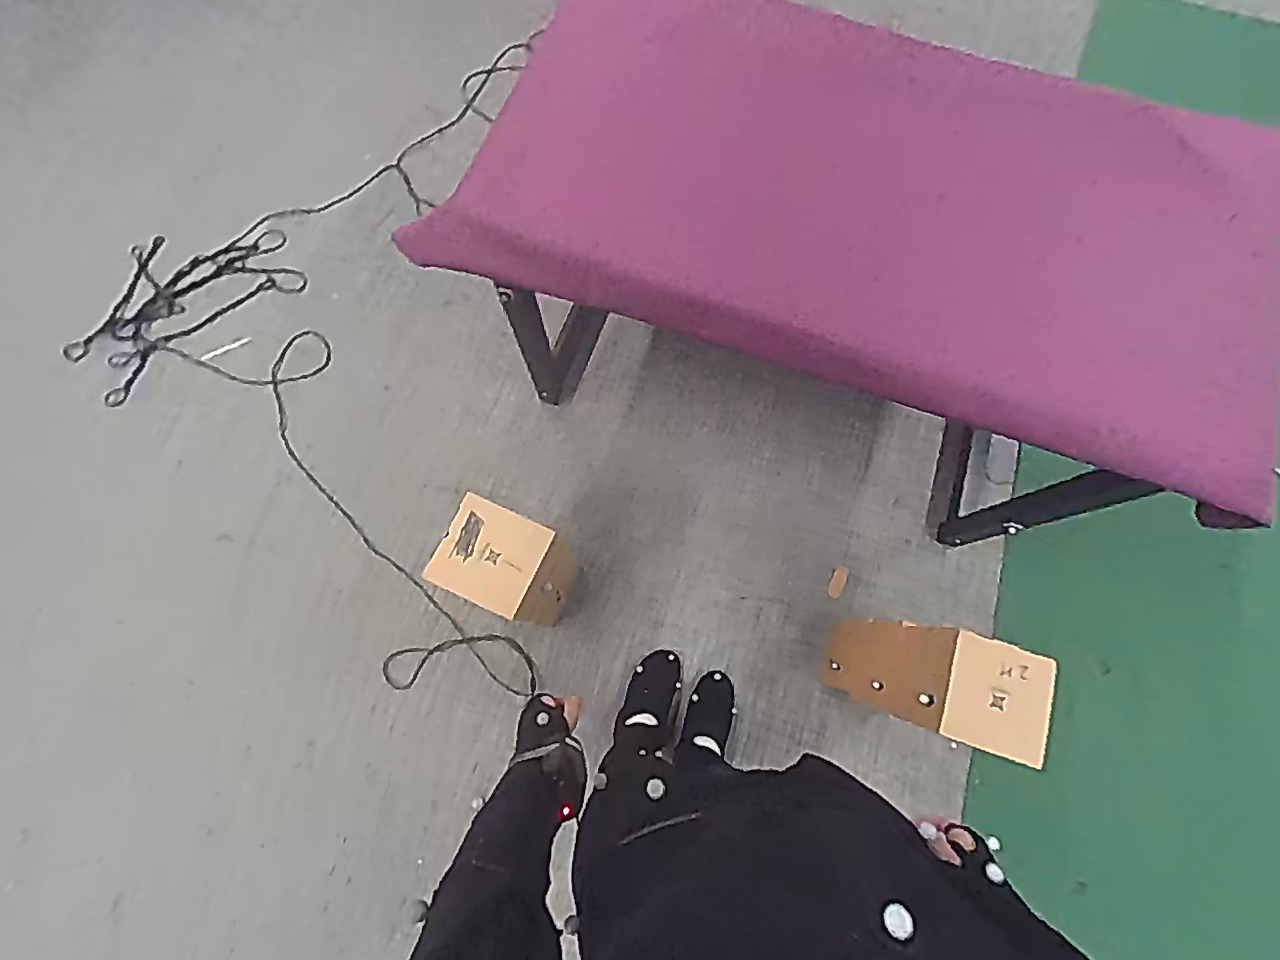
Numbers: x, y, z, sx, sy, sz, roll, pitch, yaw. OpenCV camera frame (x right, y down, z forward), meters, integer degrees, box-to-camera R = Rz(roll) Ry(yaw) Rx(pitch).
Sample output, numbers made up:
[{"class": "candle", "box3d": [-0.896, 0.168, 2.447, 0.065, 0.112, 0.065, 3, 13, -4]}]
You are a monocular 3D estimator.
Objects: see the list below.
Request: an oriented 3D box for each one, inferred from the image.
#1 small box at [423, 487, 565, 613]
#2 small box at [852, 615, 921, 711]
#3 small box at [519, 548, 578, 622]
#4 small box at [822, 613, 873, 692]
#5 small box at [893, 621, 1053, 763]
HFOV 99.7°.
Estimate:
[{"class": "small box", "box3d": [-0.255, 0.138, 0.992, 0.179, 0.176, 0.168, 25, 76, 5]}, {"class": "small box", "box3d": [0.560, 0.387, 1.114, 0.168, 0.176, 0.179, 18, 77, 3]}, {"class": "small box", "box3d": [-0.260, 0.230, 1.308, 0.168, 0.176, 0.179, 23, 77, 5]}, {"class": "small box", "box3d": [0.553, 0.424, 1.272, 0.179, 0.176, 0.168, 21, 76, 4]}, {"class": "small box", "box3d": [0.573, 0.360, 0.952, 0.168, 0.176, 0.179, 19, 77, 3]}]
